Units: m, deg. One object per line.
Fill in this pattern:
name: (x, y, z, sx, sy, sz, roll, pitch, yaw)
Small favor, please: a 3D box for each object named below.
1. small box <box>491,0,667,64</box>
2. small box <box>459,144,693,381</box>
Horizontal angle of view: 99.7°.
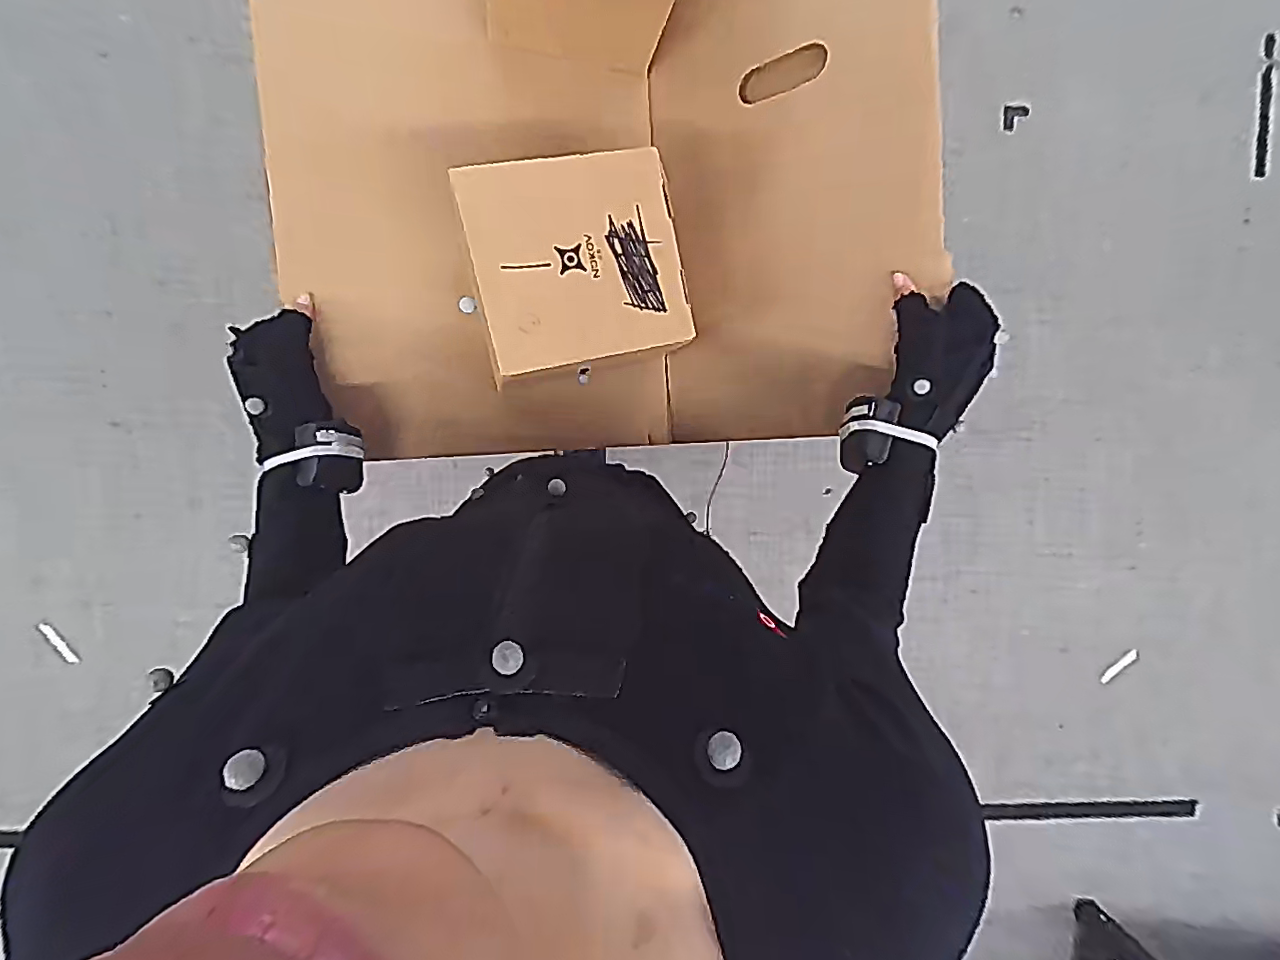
small box: (-0.053, -0.549, 0.520, 0.179, 0.176, 0.168, 1, 93, -15)
small box: (-0.069, -0.200, 0.537, 0.179, 0.176, 0.168, -14, 97, -13)
